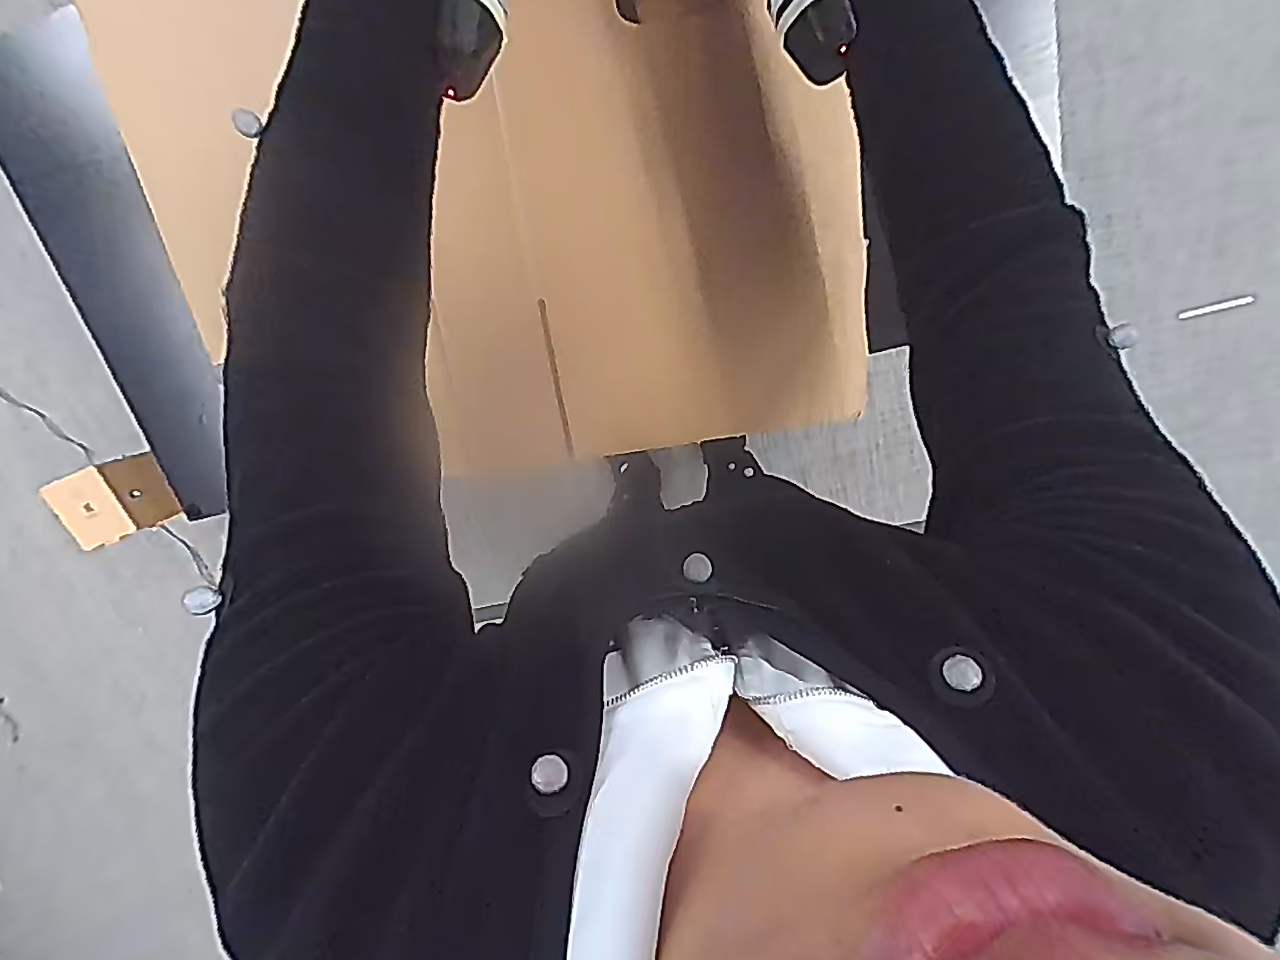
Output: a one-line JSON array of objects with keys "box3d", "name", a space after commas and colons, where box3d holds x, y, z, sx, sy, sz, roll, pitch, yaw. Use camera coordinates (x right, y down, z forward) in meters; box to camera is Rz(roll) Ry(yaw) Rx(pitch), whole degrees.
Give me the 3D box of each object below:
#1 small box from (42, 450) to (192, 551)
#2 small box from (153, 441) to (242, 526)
[{"box3d": [-1.285, 0.046, 1.345, 0.168, 0.176, 0.179, -20, 104, 9], "name": "small box"}, {"box3d": [-1.271, 0.002, 1.501, 0.168, 0.176, 0.179, -17, 106, 9], "name": "small box"}]
